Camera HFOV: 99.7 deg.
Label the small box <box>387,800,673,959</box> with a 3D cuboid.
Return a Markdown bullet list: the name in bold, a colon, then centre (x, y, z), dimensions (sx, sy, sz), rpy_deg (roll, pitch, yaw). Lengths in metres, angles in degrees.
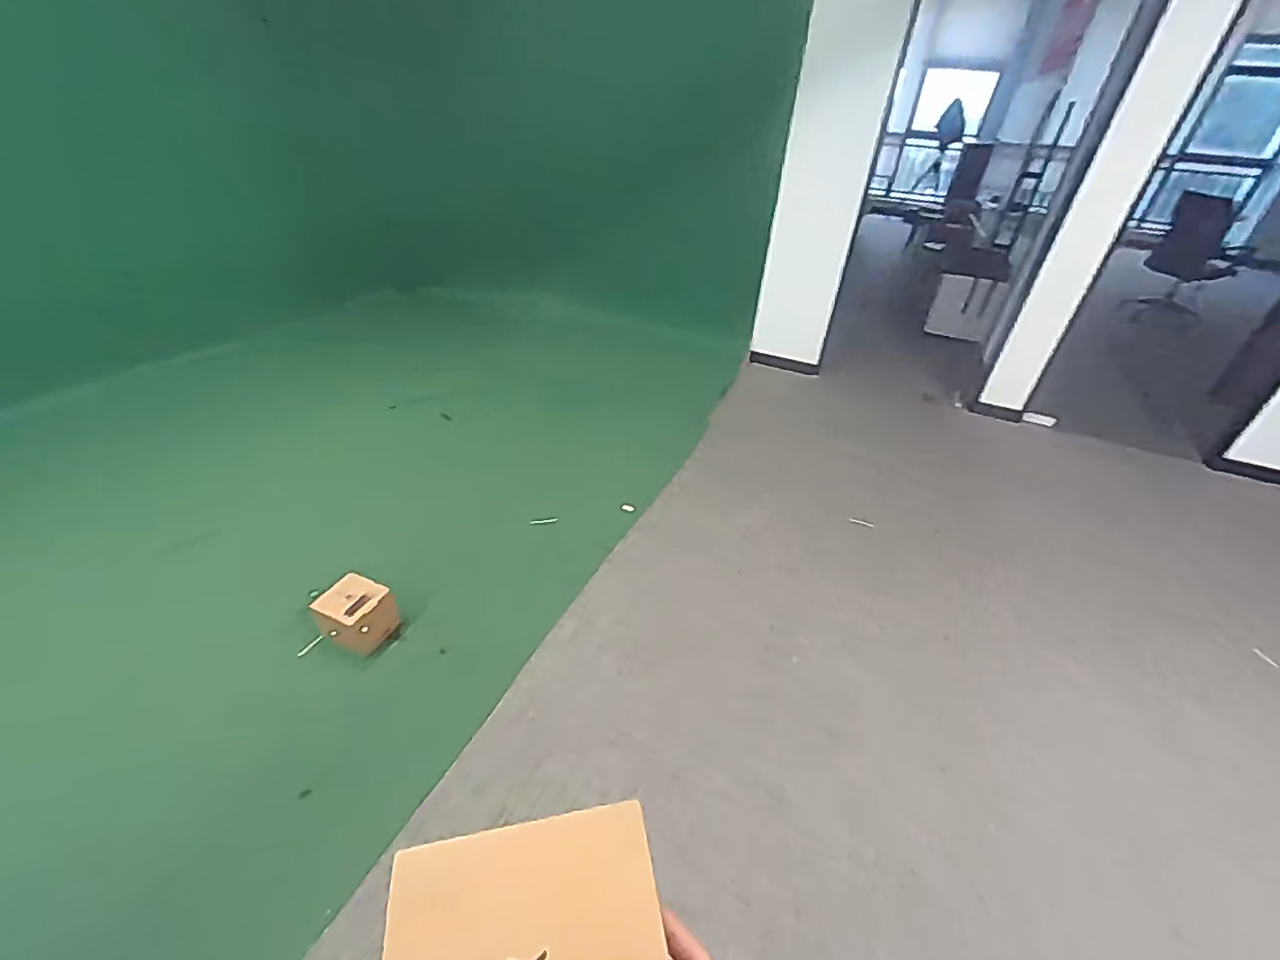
- **small box**: centre (-0.065, 0.348, 0.353), dimensions (0.168, 0.176, 0.179), rpy_deg (-6, 40, -10)
